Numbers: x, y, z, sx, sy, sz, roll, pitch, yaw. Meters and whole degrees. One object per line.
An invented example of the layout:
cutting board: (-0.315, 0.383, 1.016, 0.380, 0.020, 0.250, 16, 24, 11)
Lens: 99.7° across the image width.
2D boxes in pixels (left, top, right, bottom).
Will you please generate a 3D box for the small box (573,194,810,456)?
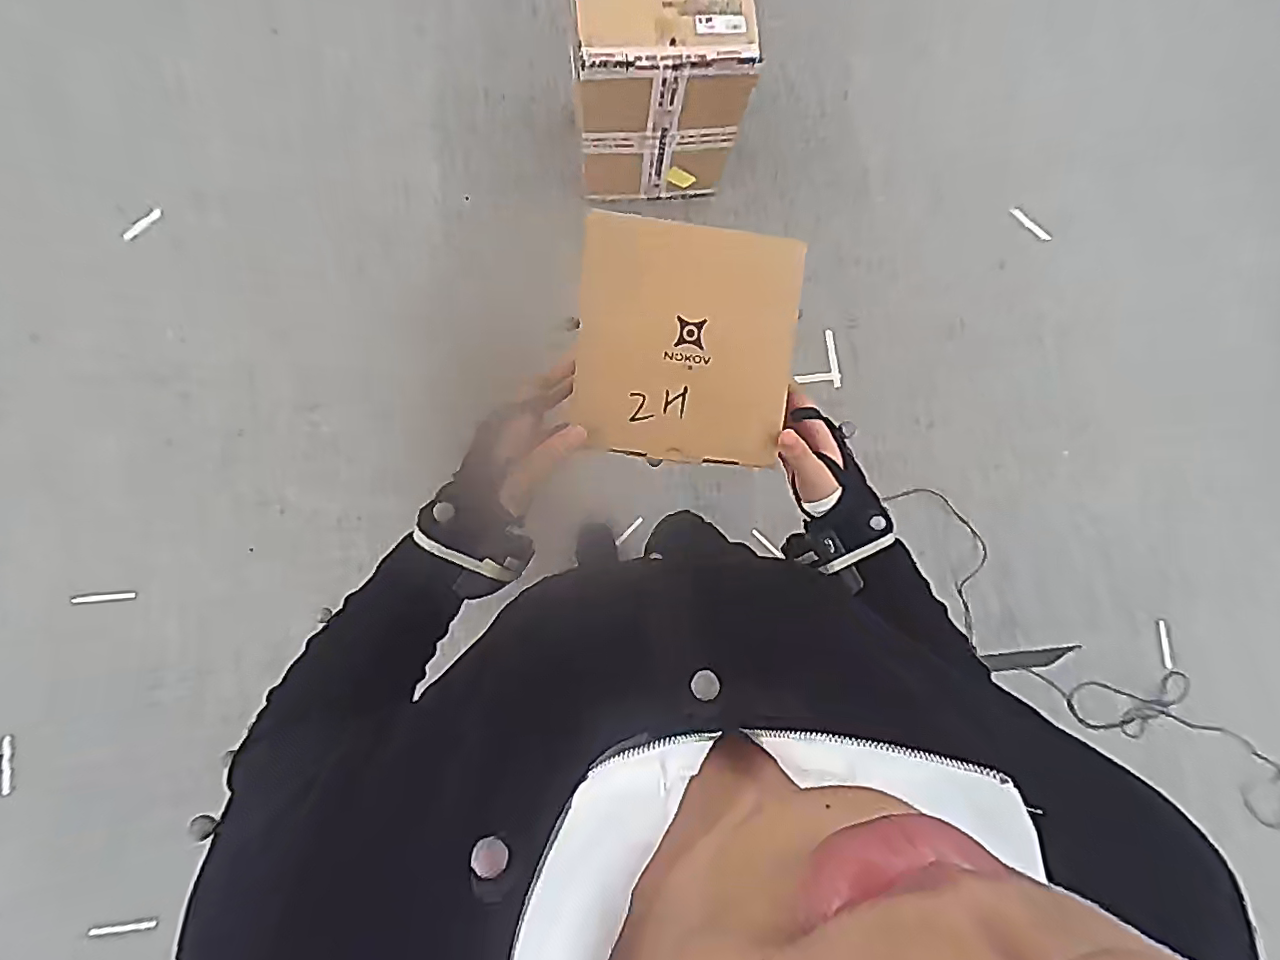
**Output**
small box: (0.031, -0.121, 0.484, 0.168, 0.176, 0.179, 6, 96, -6)
